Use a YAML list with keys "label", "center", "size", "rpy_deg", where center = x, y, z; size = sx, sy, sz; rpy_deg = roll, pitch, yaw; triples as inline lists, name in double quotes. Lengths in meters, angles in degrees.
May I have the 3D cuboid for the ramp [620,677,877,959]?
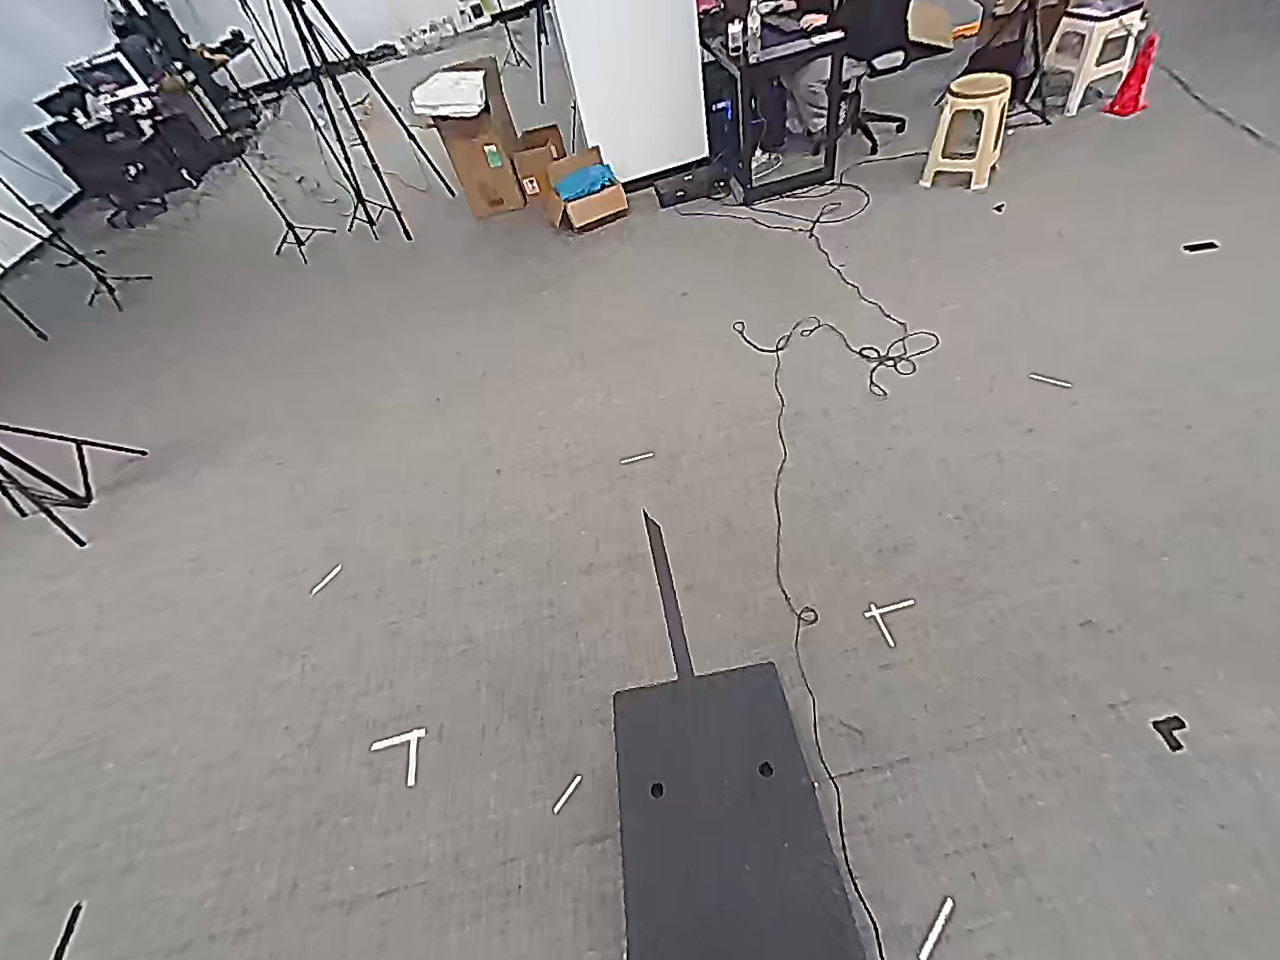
- label: "ramp"
  center: [0.225, 0.935, 1.209]
  size: [0.509, 0.206, 0.991]
  rpy_deg: [-16, 47, 3]
